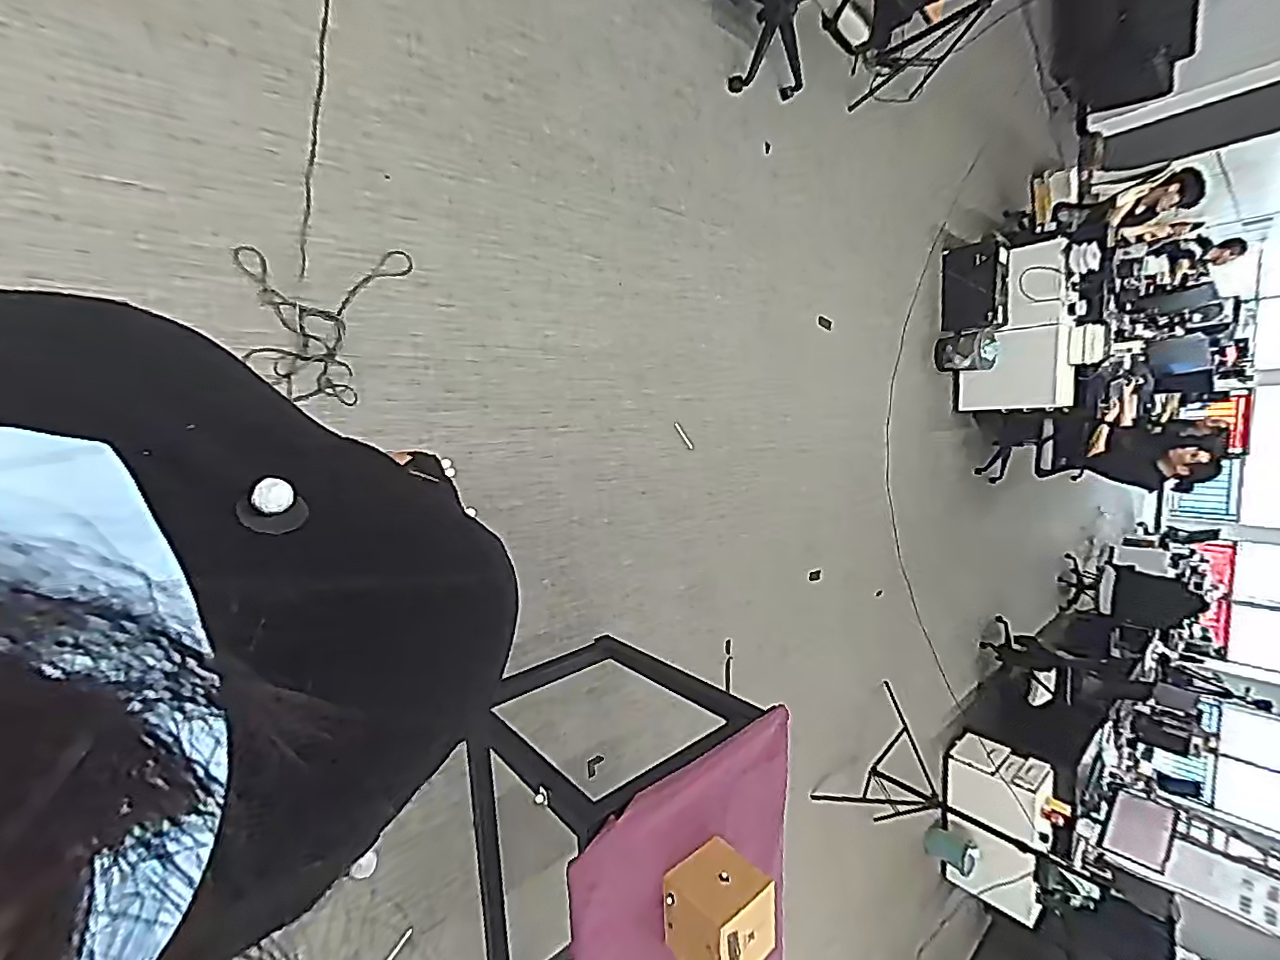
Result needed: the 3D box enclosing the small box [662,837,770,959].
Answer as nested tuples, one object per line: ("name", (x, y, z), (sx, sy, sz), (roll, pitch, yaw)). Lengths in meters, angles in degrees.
("small box", (0.160, 0.930, 1.171), (0.179, 0.176, 0.168), (-8, 99, -40))
